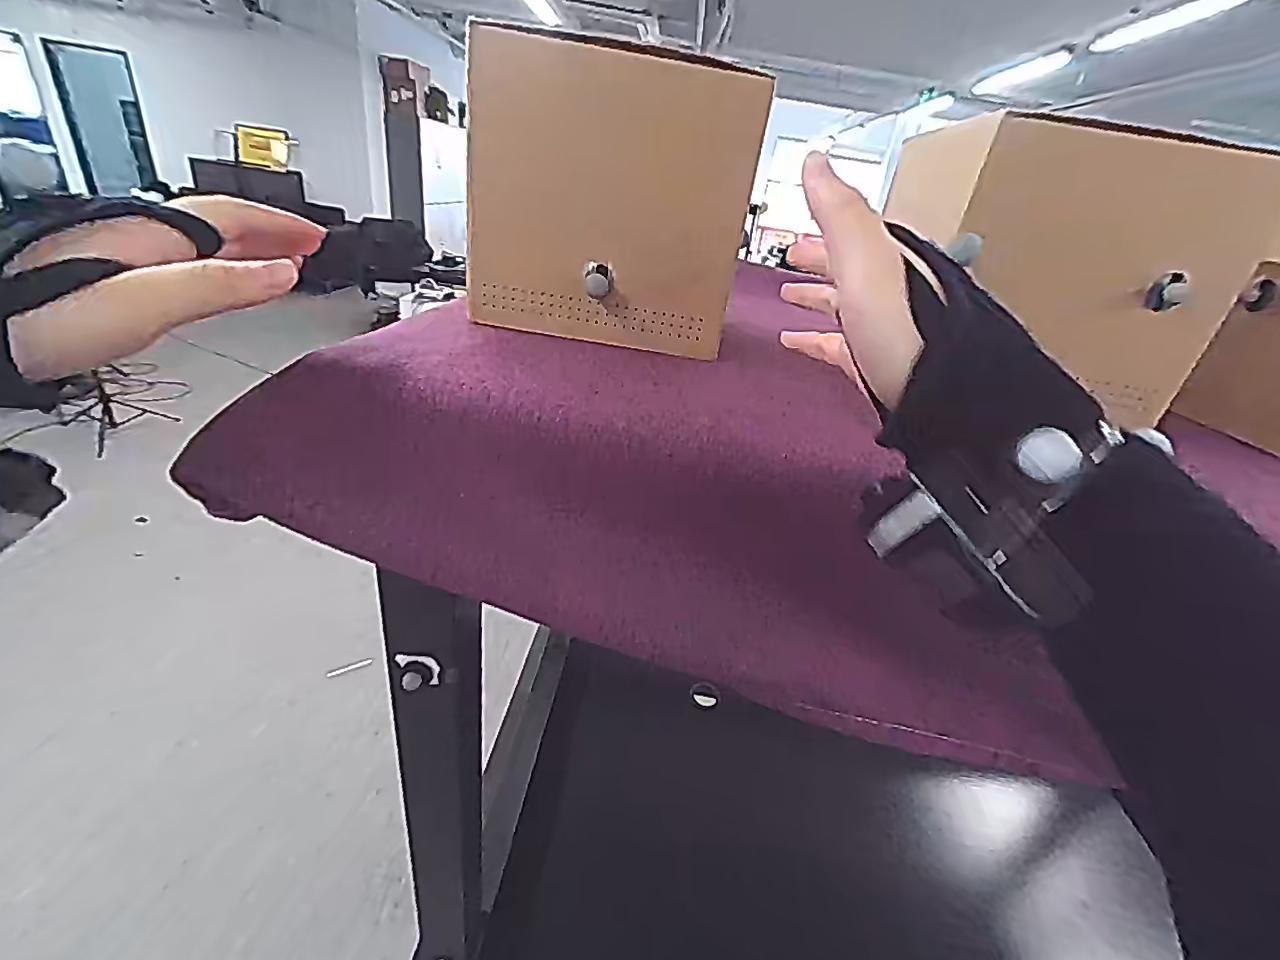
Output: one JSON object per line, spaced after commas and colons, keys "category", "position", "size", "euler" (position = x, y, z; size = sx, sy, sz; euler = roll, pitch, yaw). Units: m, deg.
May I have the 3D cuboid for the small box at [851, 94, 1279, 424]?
{"category": "small box", "position": [0.279, -0.152, 0.388], "size": [0.179, 0.176, 0.168], "euler": [10, 28, 2]}

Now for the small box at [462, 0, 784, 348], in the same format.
{"category": "small box", "position": [-0.017, -0.204, 0.391], "size": [0.179, 0.176, 0.168], "euler": [9, 28, -2]}
